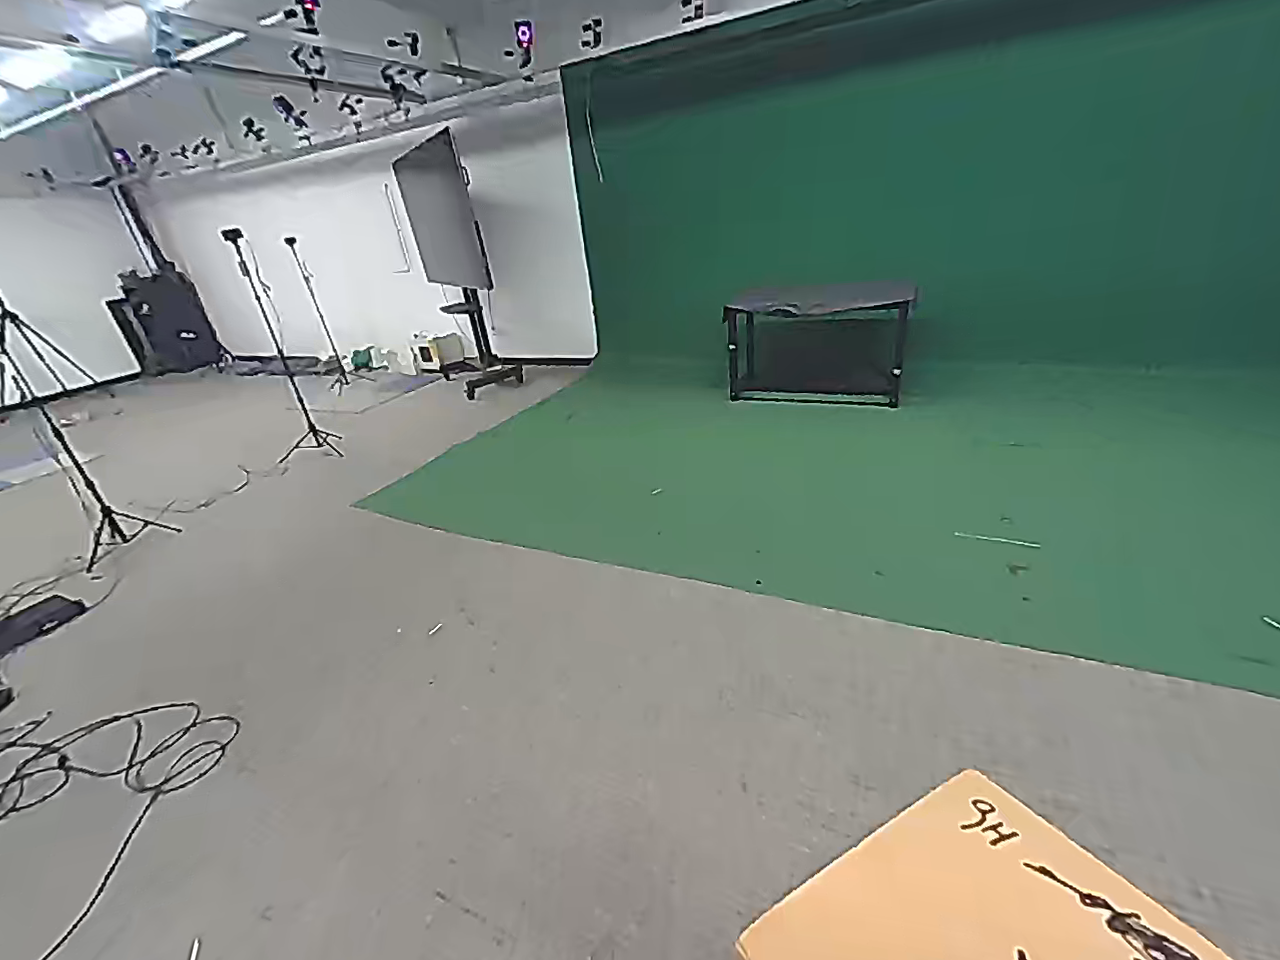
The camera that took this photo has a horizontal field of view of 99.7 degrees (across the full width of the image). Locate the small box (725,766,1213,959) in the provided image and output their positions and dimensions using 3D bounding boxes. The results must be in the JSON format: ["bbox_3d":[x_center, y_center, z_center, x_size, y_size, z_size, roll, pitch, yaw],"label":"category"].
[{"bbox_3d":[0.168,0.297,0.263,0.179,0.176,0.168,-20,22,-19],"label":"small box"}]
